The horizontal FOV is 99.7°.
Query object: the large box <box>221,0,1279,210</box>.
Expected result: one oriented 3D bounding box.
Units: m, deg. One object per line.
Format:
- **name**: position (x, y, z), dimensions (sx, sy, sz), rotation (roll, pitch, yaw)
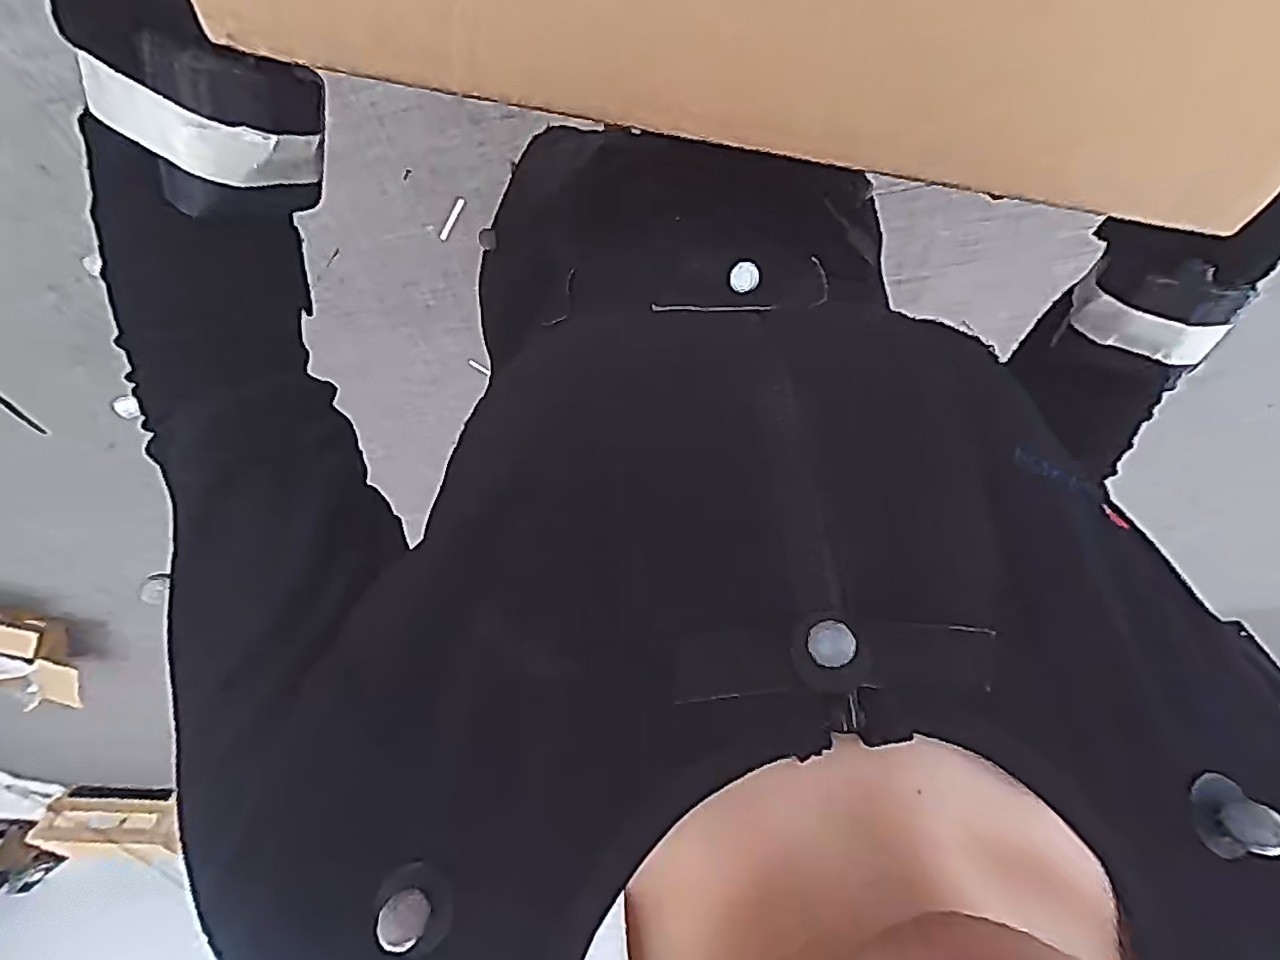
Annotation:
- **large box**: position (0.074, -0.347, 0.200), dimensions (0.408, 0.320, 0.320), rotation (6, 138, -7)
